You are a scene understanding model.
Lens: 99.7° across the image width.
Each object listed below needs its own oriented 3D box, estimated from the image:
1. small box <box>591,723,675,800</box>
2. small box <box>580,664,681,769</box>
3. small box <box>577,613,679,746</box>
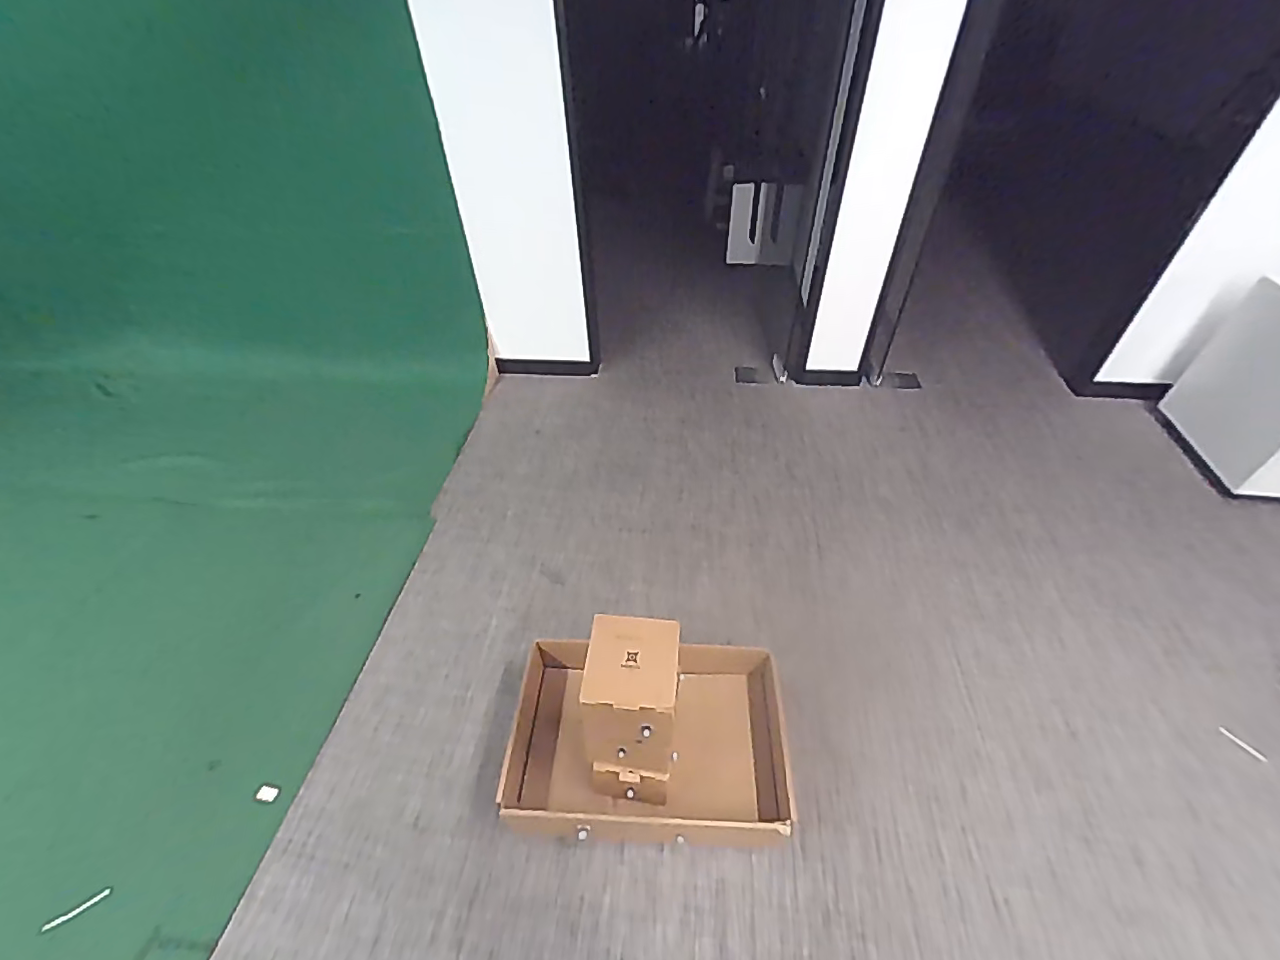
[{"bbox_3d":[-0.010,0.614,1.249,0.168,0.176,0.179,6,45,7],"label":"small box"},{"bbox_3d":[-0.014,0.488,1.142,0.179,0.176,0.168,7,44,10],"label":"small box"},{"bbox_3d":[-0.017,0.379,1.023,0.168,0.176,0.179,5,42,4],"label":"small box"}]
